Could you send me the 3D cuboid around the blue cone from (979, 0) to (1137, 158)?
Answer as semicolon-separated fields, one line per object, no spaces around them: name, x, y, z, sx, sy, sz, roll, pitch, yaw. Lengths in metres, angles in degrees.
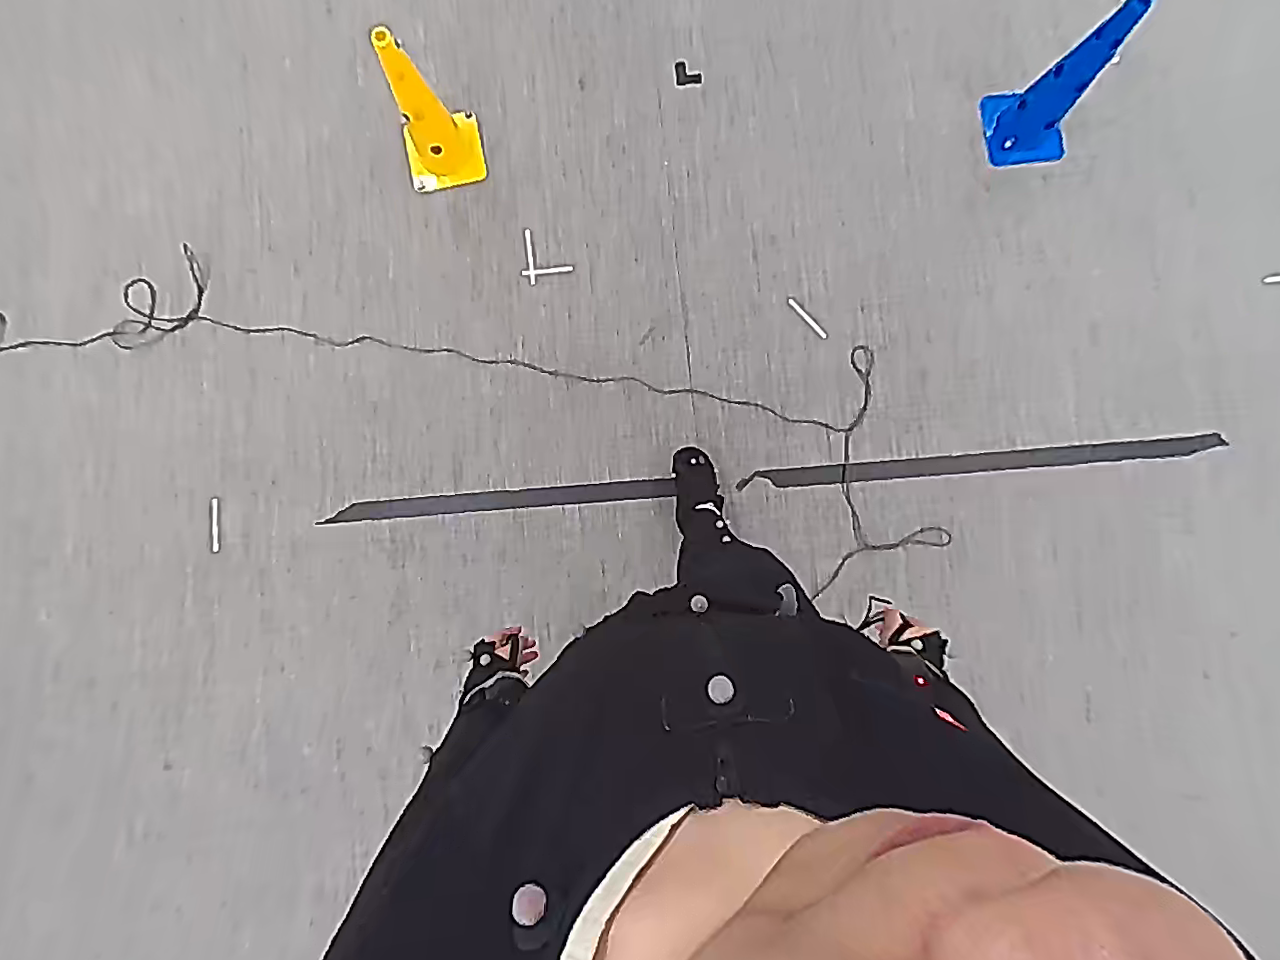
blue cone;1.005;-0.963;1.274;0.193;0.380;0.192;-5;84;0
